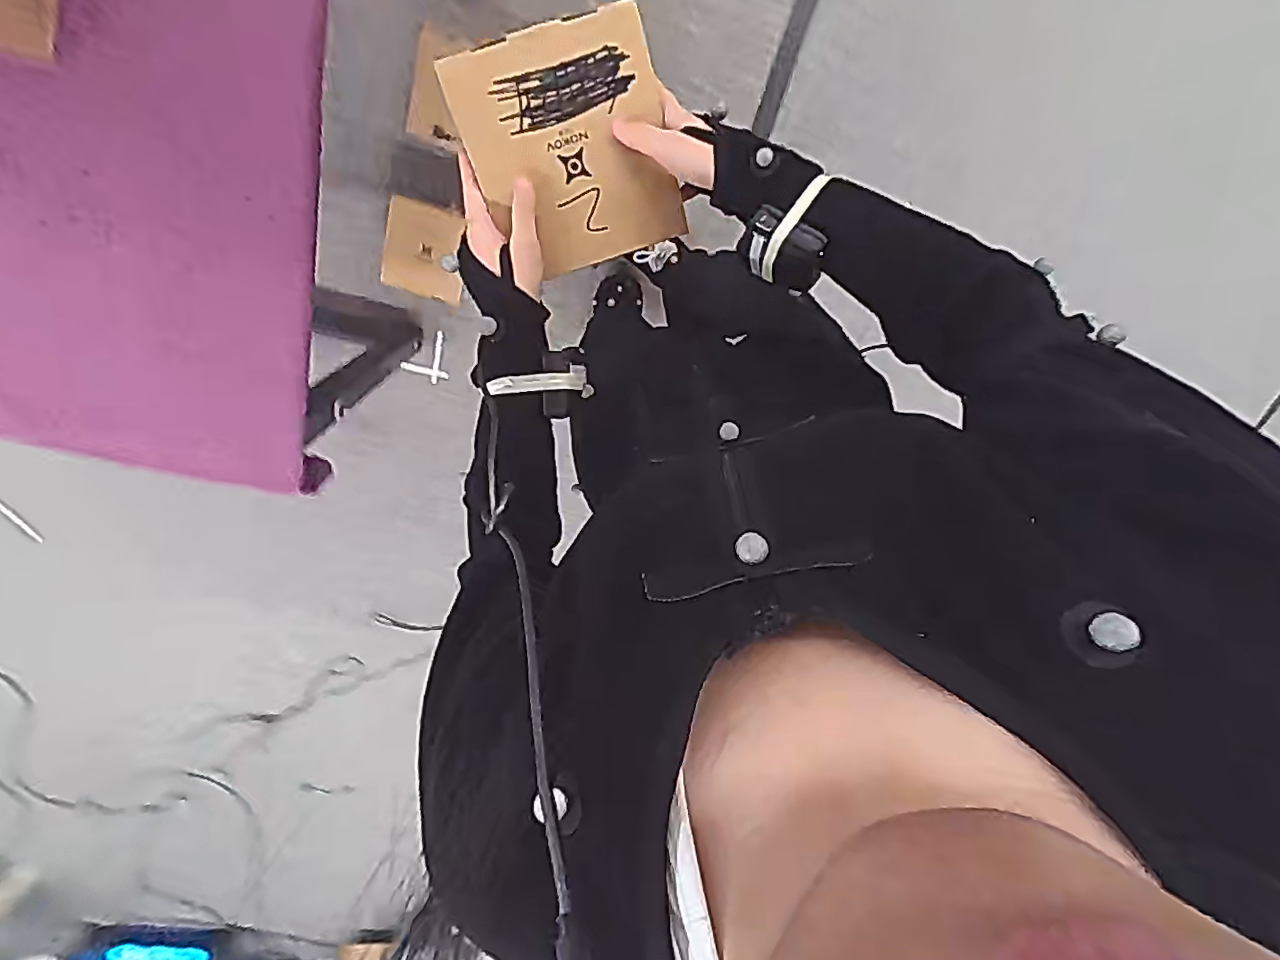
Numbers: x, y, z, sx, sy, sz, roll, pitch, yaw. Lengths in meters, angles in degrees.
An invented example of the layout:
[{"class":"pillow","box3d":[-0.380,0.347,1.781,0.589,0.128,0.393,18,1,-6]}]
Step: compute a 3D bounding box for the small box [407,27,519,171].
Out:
[{"class":"small box","box3d":[-0.346,-0.746,1.083,0.168,0.176,0.179,17,114,-14]}]
